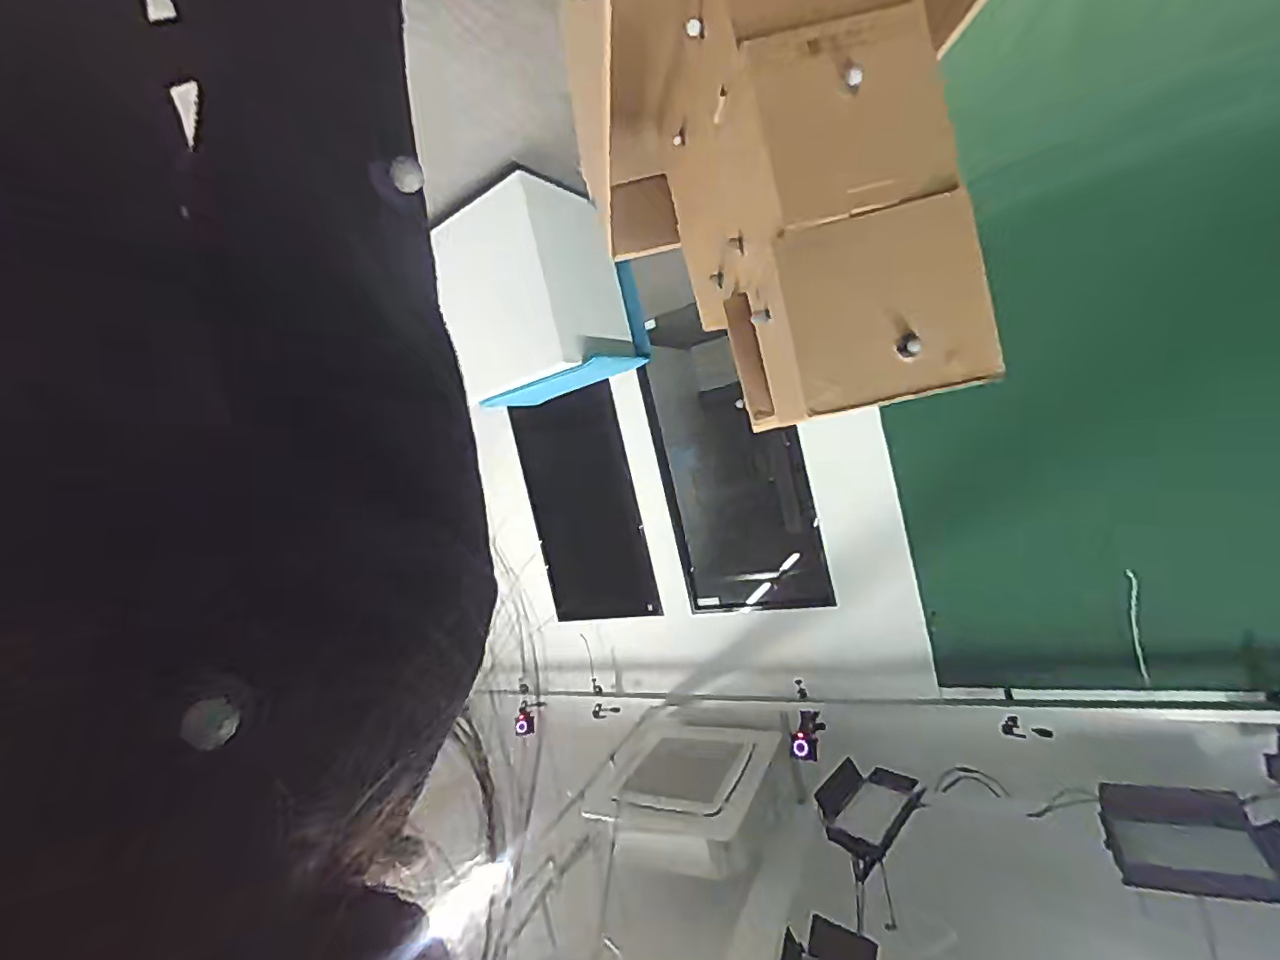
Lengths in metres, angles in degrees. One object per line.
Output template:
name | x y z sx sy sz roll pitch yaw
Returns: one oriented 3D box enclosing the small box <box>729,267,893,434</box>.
small box | 0.221 -0.170 0.739 0.168 0.176 0.179 -14 179 12
